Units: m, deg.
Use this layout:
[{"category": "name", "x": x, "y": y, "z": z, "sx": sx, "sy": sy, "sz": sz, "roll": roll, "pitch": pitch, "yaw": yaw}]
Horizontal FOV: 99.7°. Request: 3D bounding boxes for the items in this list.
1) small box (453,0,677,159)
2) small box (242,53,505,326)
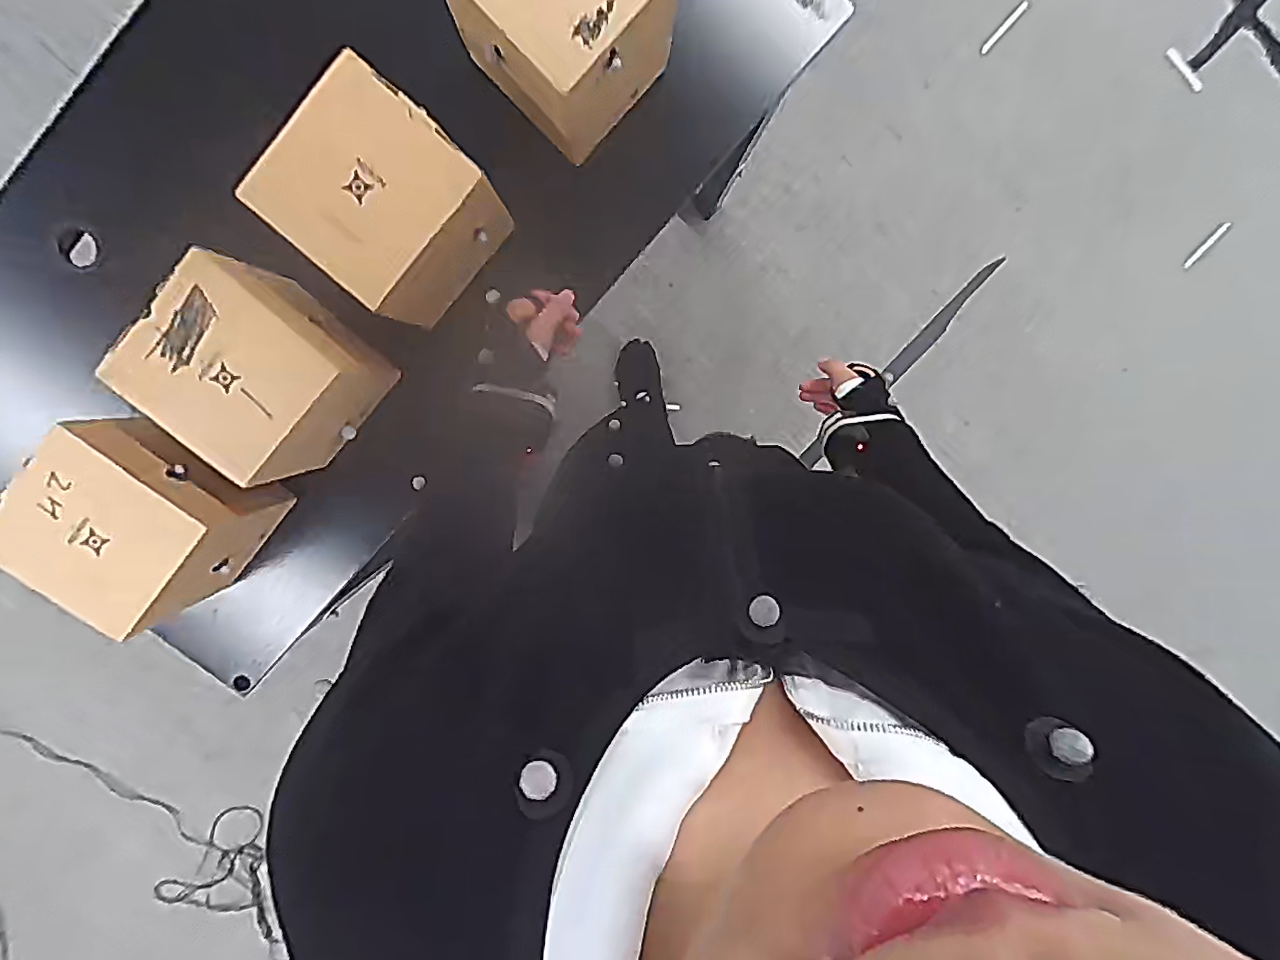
[{"category": "small box", "x": -0.081, "y": -0.491, "z": 0.573, "sx": 0.179, "sy": 0.176, "sz": 0.168, "roll": 43, "pitch": 95, "yaw": -8}, {"category": "small box", "x": -0.269, "y": -0.295, "z": 0.598, "sx": 0.168, "sy": 0.176, "sz": 0.179, "roll": 41, "pitch": 96, "yaw": -8}]
